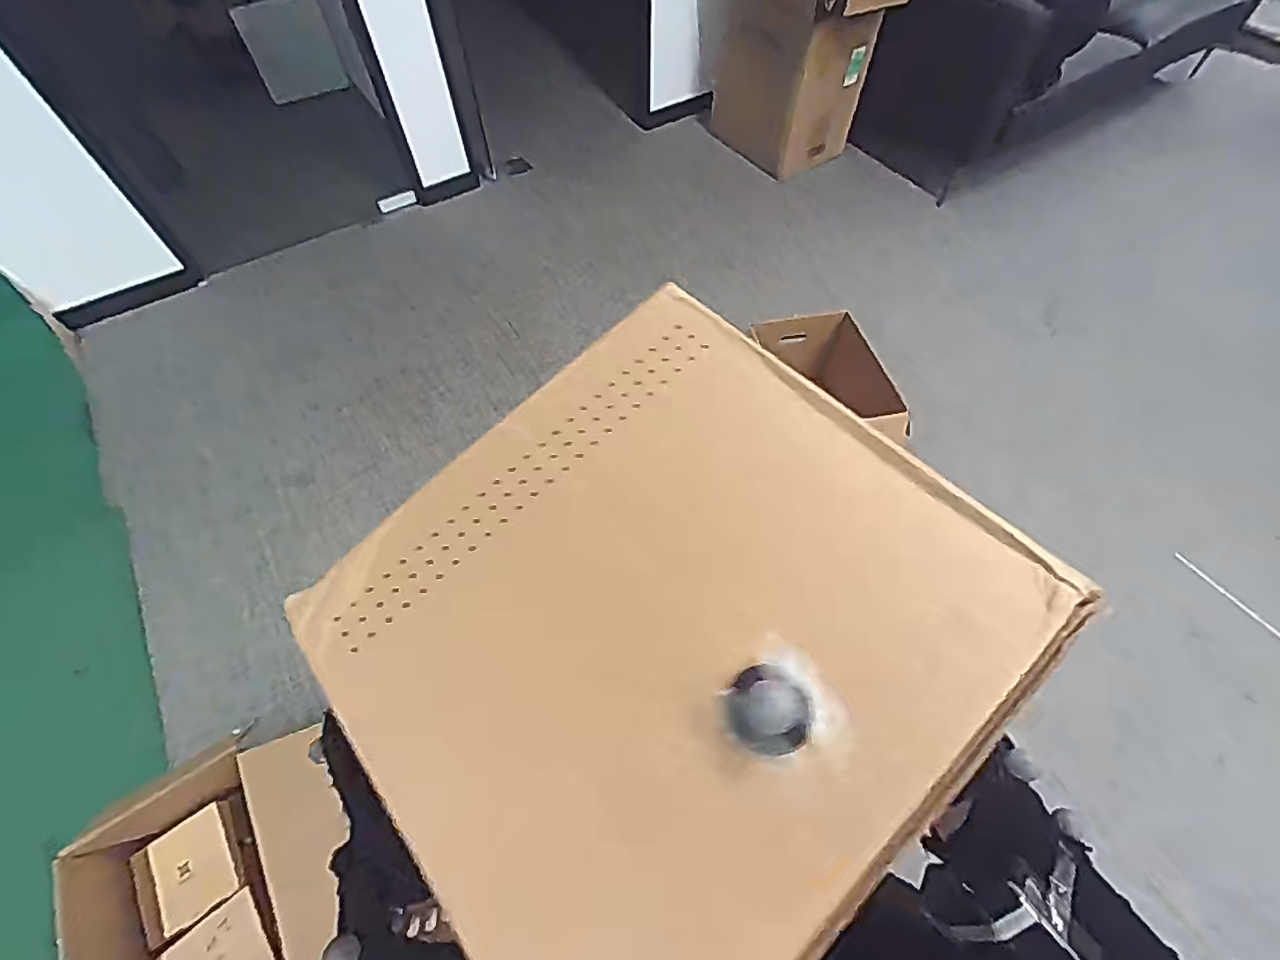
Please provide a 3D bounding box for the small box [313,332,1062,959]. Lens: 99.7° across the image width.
[{"bbox_3d":[0.010,0.072,0.233,0.179,0.168,0.176,-42,65,-11],"label":"small box"}]
